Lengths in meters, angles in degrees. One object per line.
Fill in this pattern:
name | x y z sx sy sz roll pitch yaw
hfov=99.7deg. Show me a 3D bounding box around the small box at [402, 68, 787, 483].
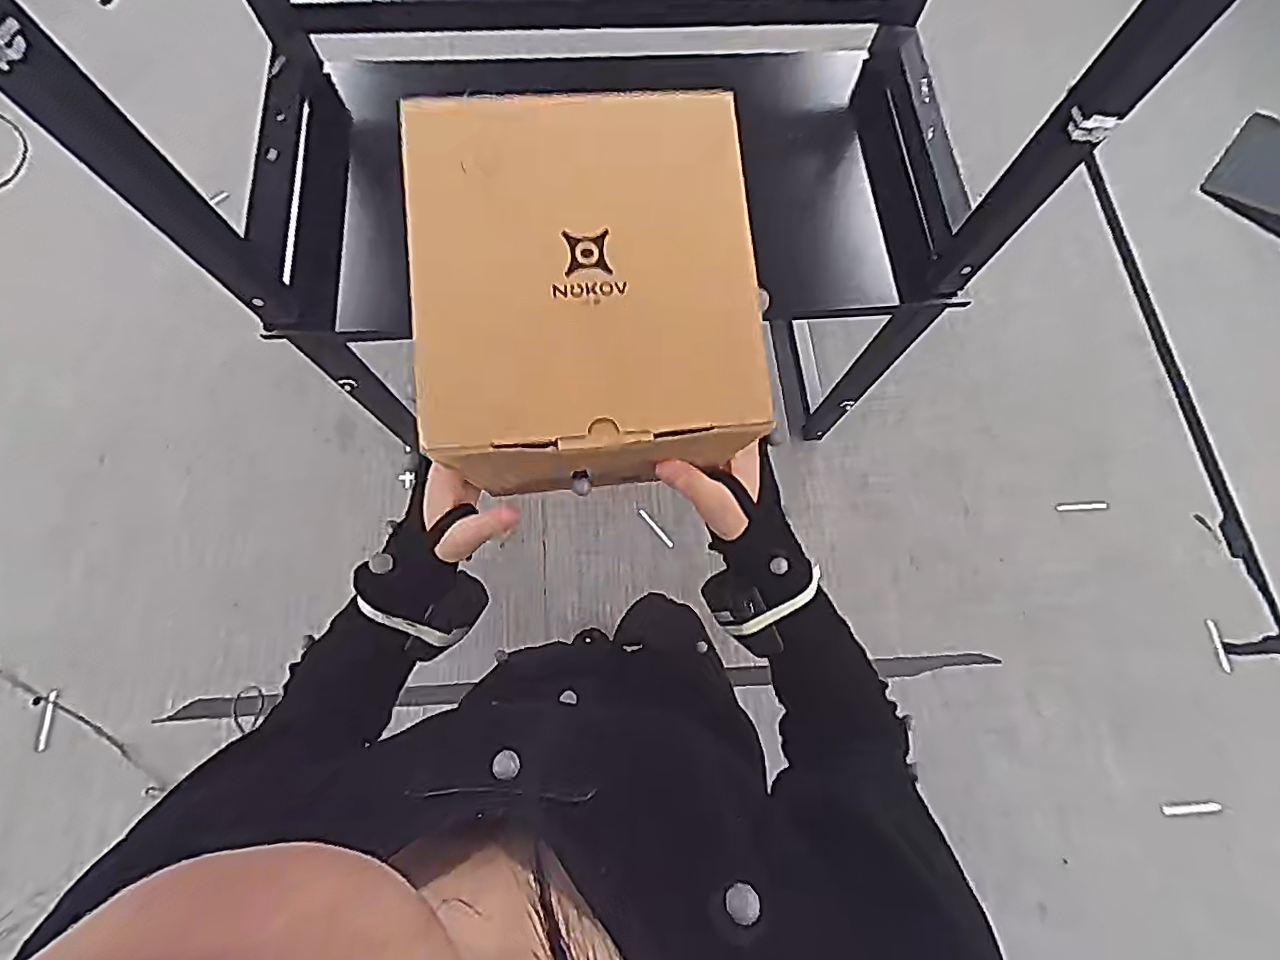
small box | -0.029 -0.098 0.324 0.168 0.176 0.179 -5 85 -6
